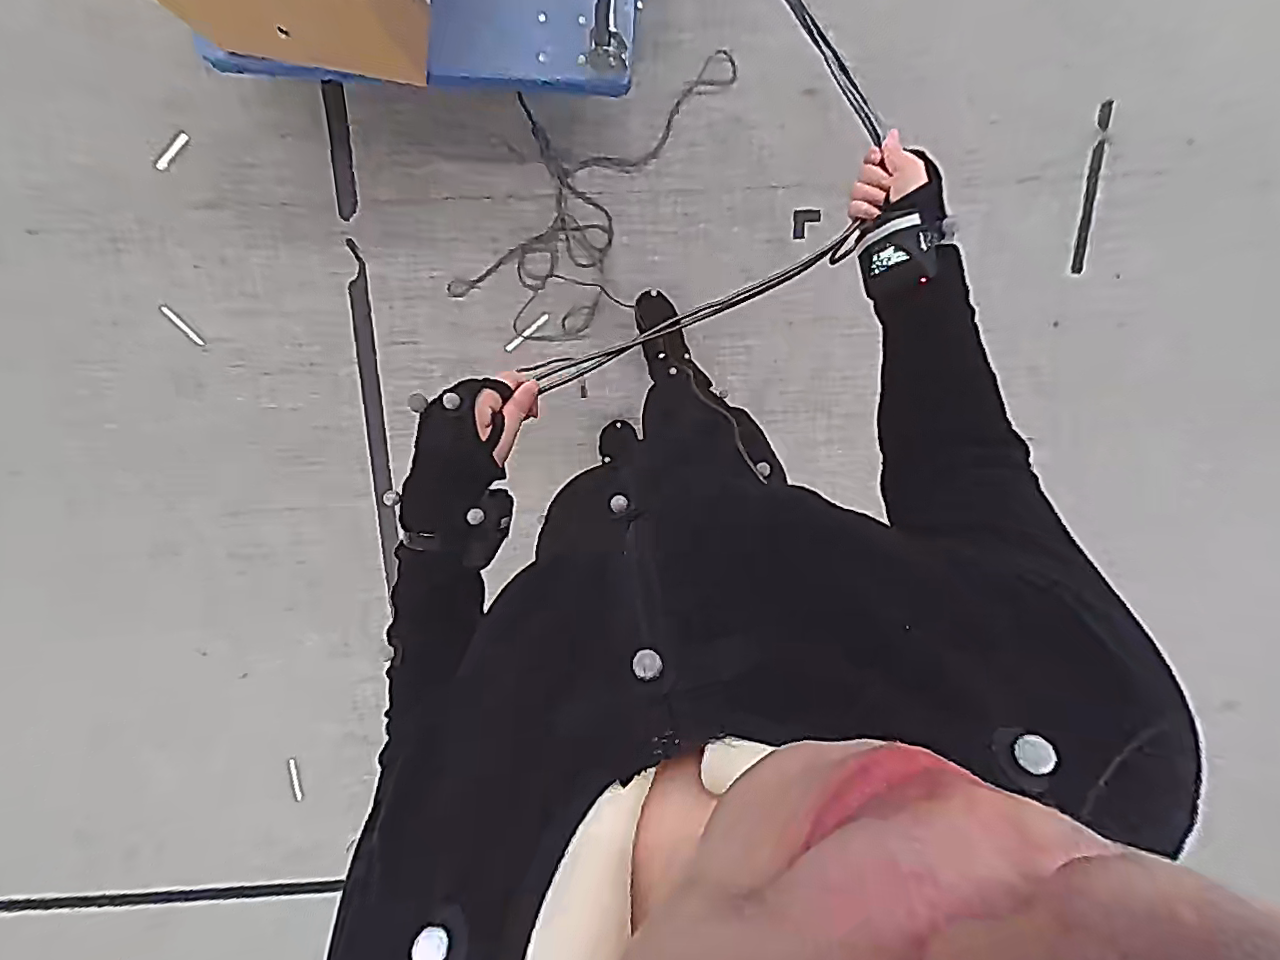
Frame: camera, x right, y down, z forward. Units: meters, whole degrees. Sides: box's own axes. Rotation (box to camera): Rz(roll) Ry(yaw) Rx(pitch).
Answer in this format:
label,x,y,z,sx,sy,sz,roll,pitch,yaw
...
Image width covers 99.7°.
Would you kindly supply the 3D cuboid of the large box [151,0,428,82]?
label,x,y,z,sx,sy,sz,roll,pitch,yaw
large box,-0.603,-0.928,0.901,0.408,0.320,0.320,7,103,-4
